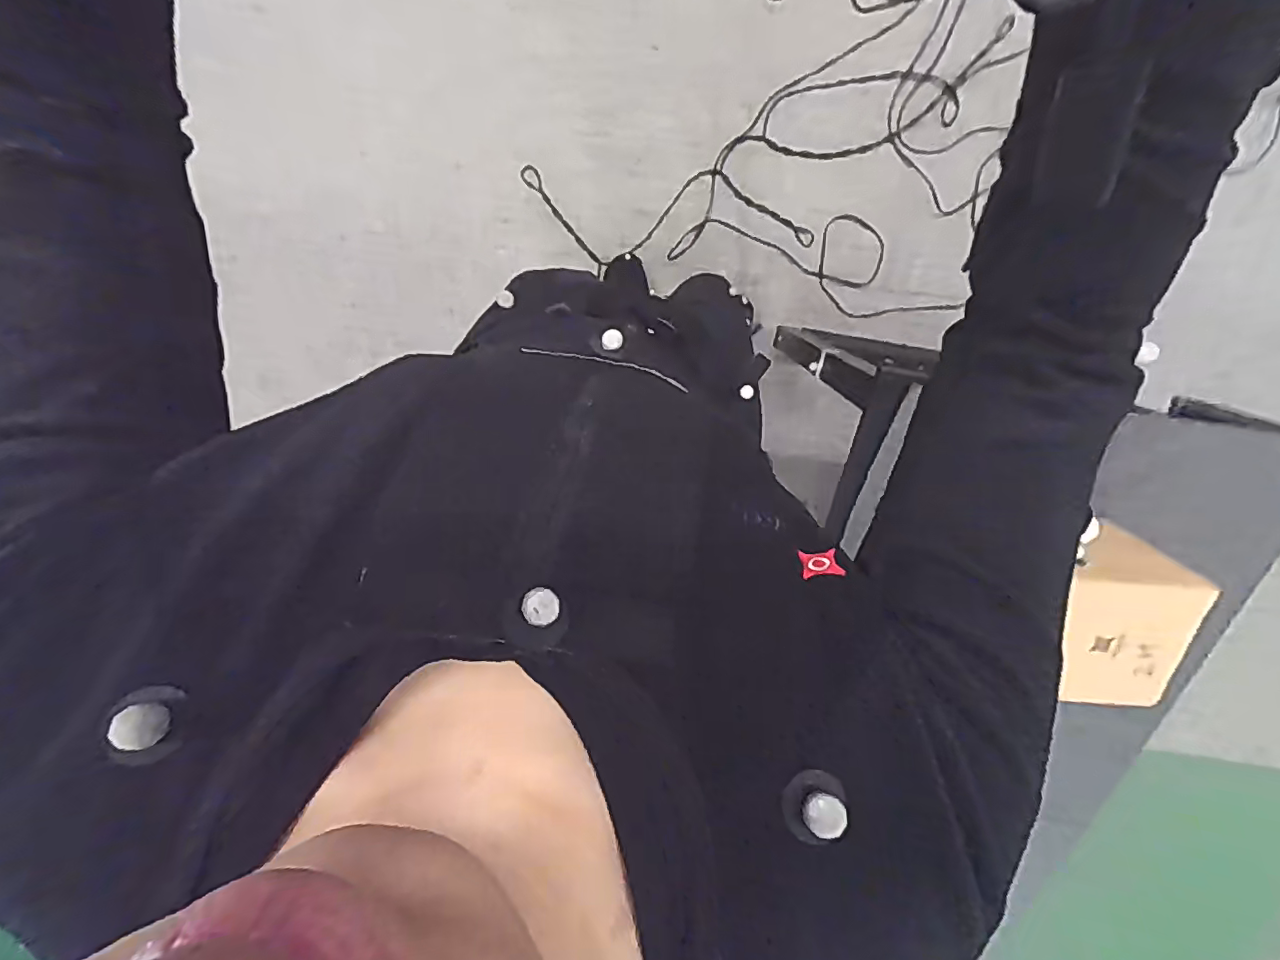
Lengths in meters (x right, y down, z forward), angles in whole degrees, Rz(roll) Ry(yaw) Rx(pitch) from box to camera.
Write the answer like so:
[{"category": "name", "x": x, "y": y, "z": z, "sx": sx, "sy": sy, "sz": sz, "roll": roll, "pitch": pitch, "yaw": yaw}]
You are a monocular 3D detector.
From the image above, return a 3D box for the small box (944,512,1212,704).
[{"category": "small box", "x": 0.522, "y": 0.151, "z": 0.681, "sx": 0.179, "sy": 0.176, "sz": 0.168, "roll": 4, "pitch": 113, "yaw": 0}]
